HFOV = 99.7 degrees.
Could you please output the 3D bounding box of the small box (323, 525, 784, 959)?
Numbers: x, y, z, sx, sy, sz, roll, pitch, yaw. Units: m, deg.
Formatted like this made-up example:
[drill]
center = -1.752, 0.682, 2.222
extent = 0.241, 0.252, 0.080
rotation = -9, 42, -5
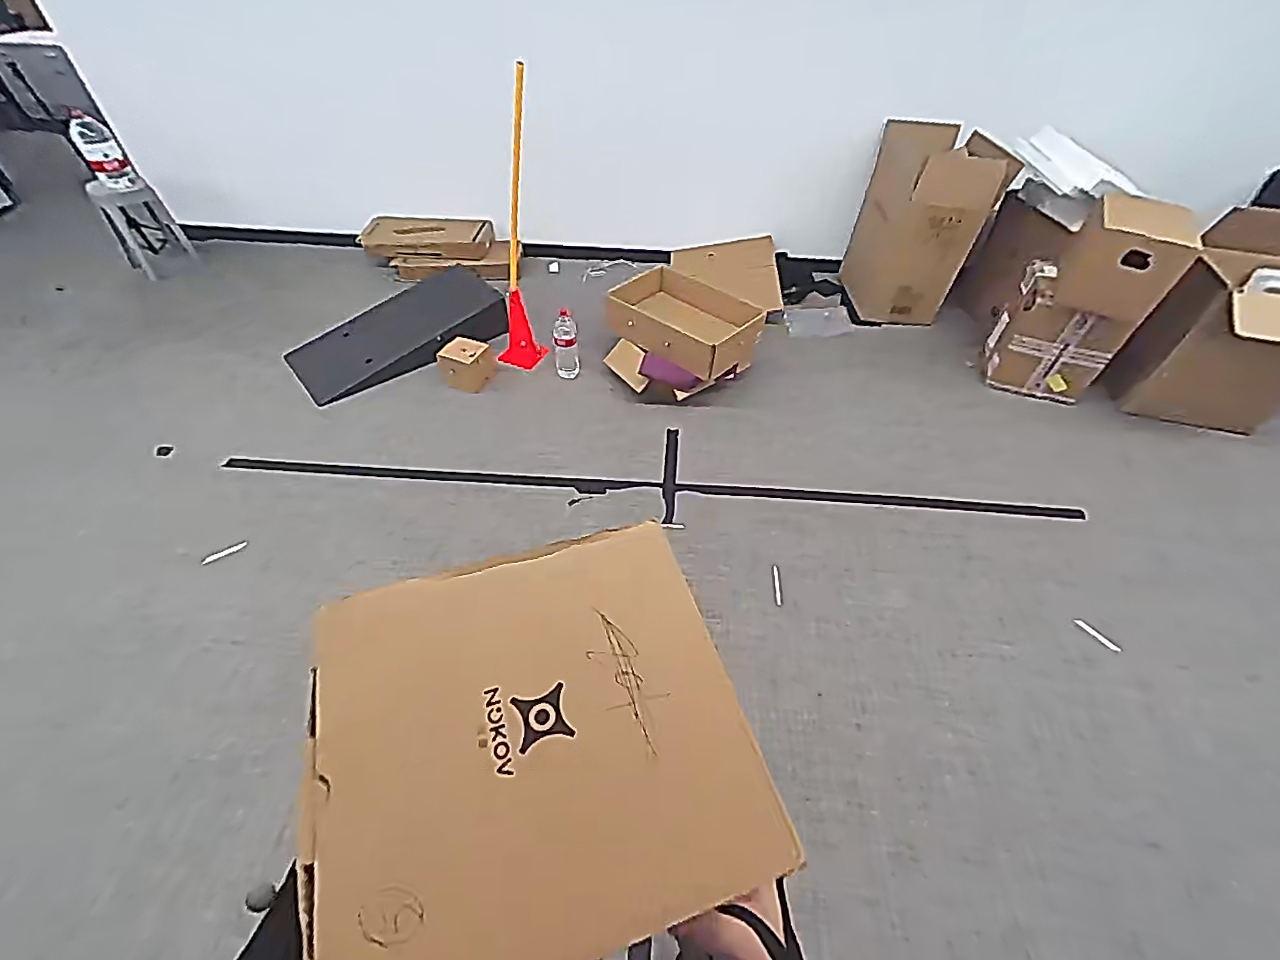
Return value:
[small box]
center = -0.052, 0.156, 0.306
extent = 0.179, 0.176, 0.168
rotation = -14, 55, -16
